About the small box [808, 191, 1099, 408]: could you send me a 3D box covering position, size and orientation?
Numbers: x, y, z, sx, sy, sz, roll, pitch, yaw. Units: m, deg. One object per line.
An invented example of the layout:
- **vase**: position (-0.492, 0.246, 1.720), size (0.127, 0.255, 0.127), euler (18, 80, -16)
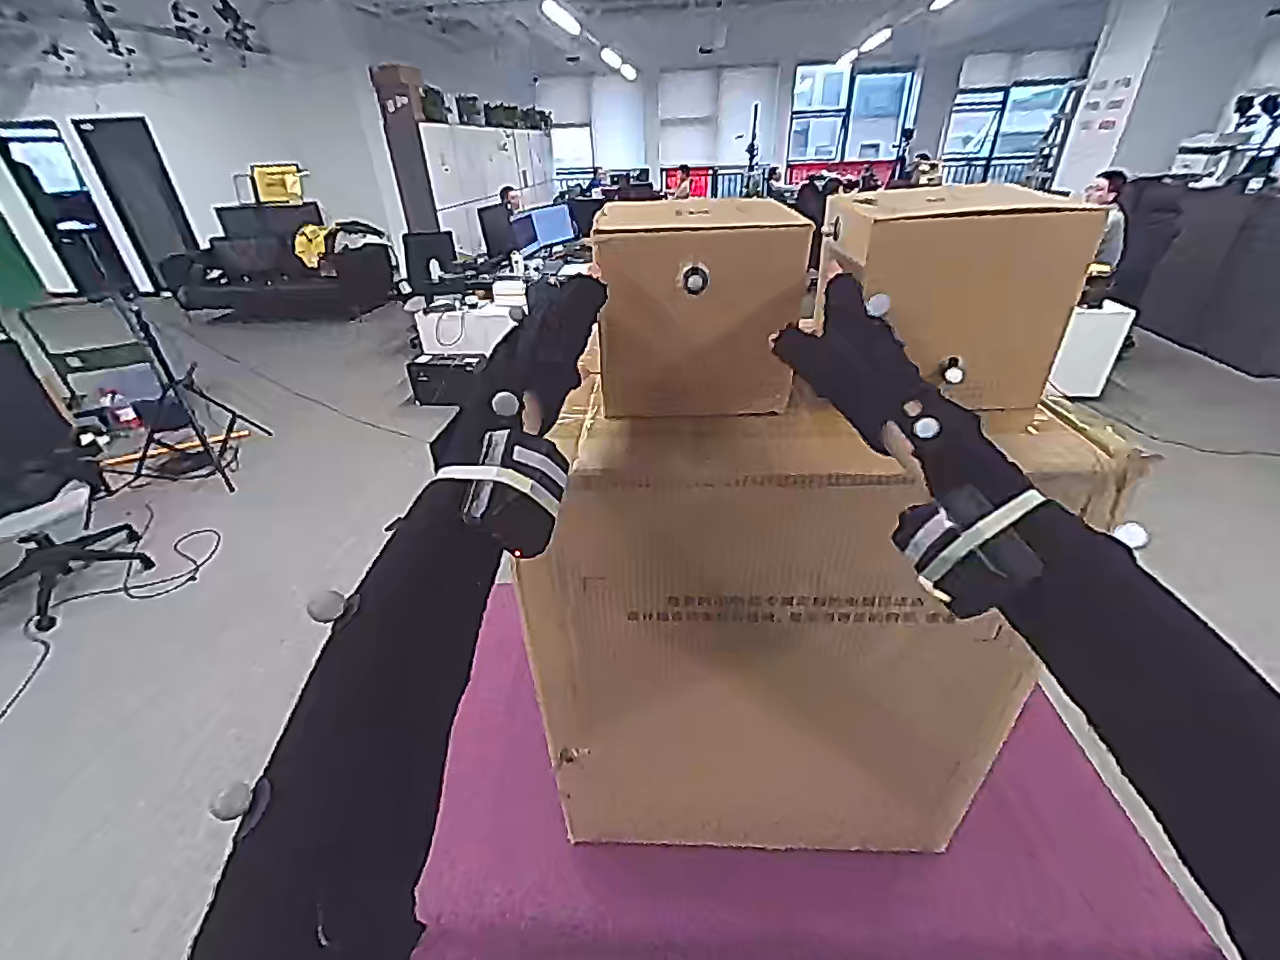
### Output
- **small box**: position (0.275, -0.177, 0.527), size (0.179, 0.176, 0.168), euler (0, 32, 5)
